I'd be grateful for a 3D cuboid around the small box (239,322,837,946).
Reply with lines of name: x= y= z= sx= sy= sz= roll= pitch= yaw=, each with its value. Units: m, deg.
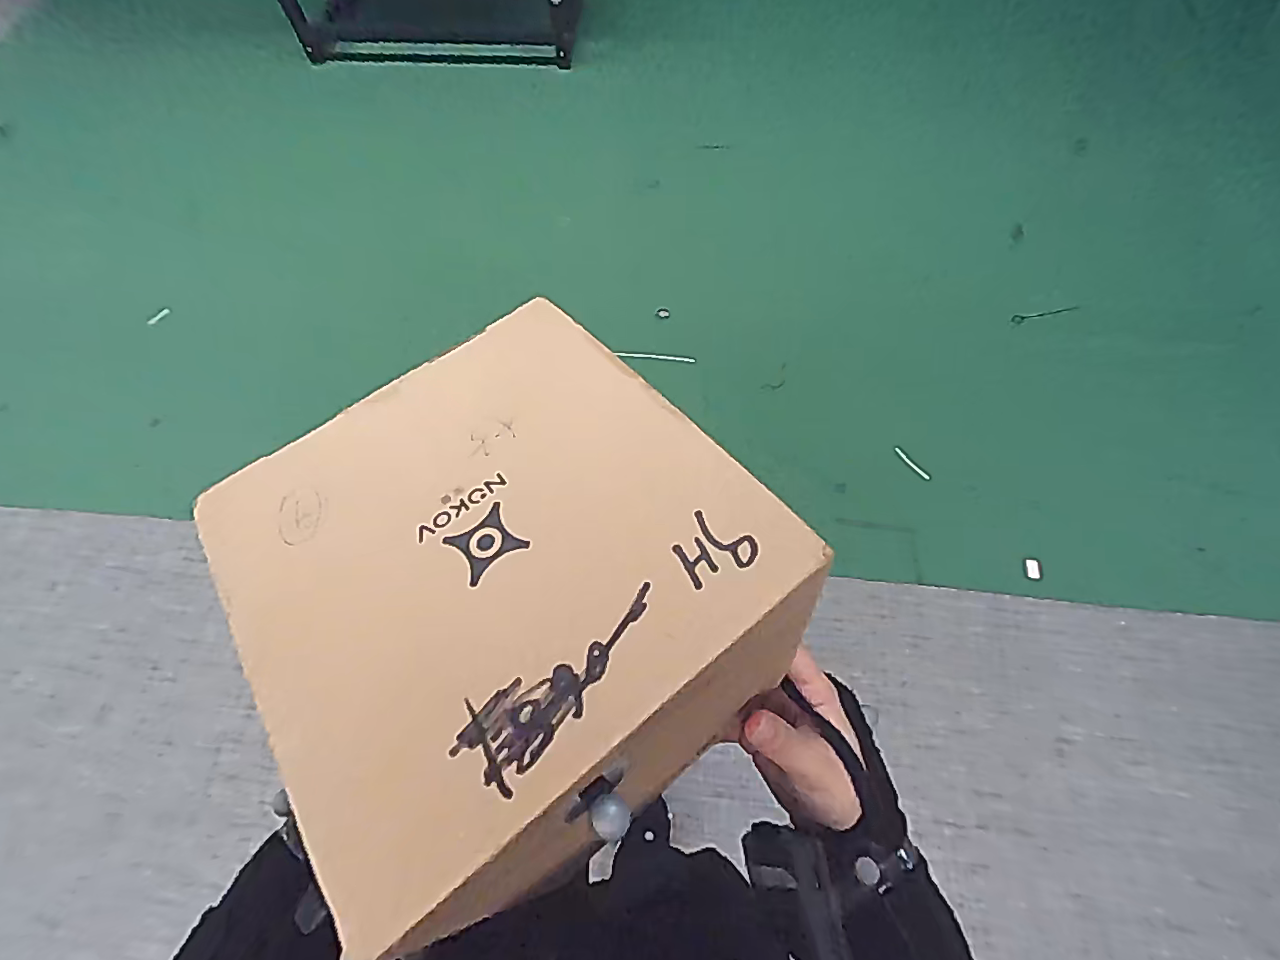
small box: x=-0.039 y=0.065 z=0.264 sx=0.168 sy=0.176 sz=0.179 roll=-37 pitch=60 yaw=-13
